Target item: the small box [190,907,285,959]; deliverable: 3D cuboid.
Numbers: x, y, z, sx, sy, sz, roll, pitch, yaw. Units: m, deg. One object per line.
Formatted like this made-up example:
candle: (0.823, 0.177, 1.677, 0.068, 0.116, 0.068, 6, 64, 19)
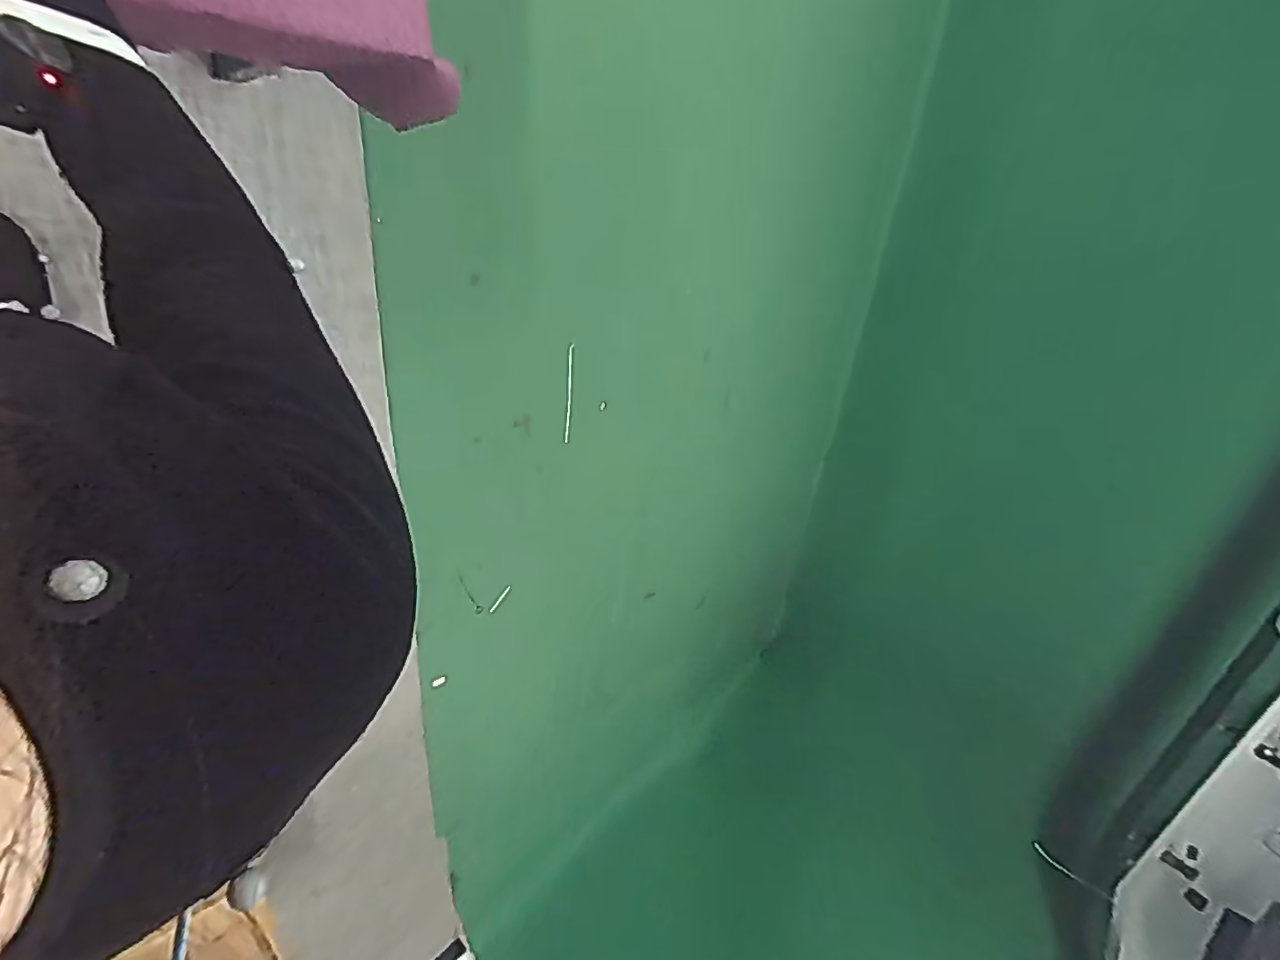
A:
small box: (-1.036, 1.270, 1.399, 0.168, 0.176, 0.179, -14, 124, -47)
